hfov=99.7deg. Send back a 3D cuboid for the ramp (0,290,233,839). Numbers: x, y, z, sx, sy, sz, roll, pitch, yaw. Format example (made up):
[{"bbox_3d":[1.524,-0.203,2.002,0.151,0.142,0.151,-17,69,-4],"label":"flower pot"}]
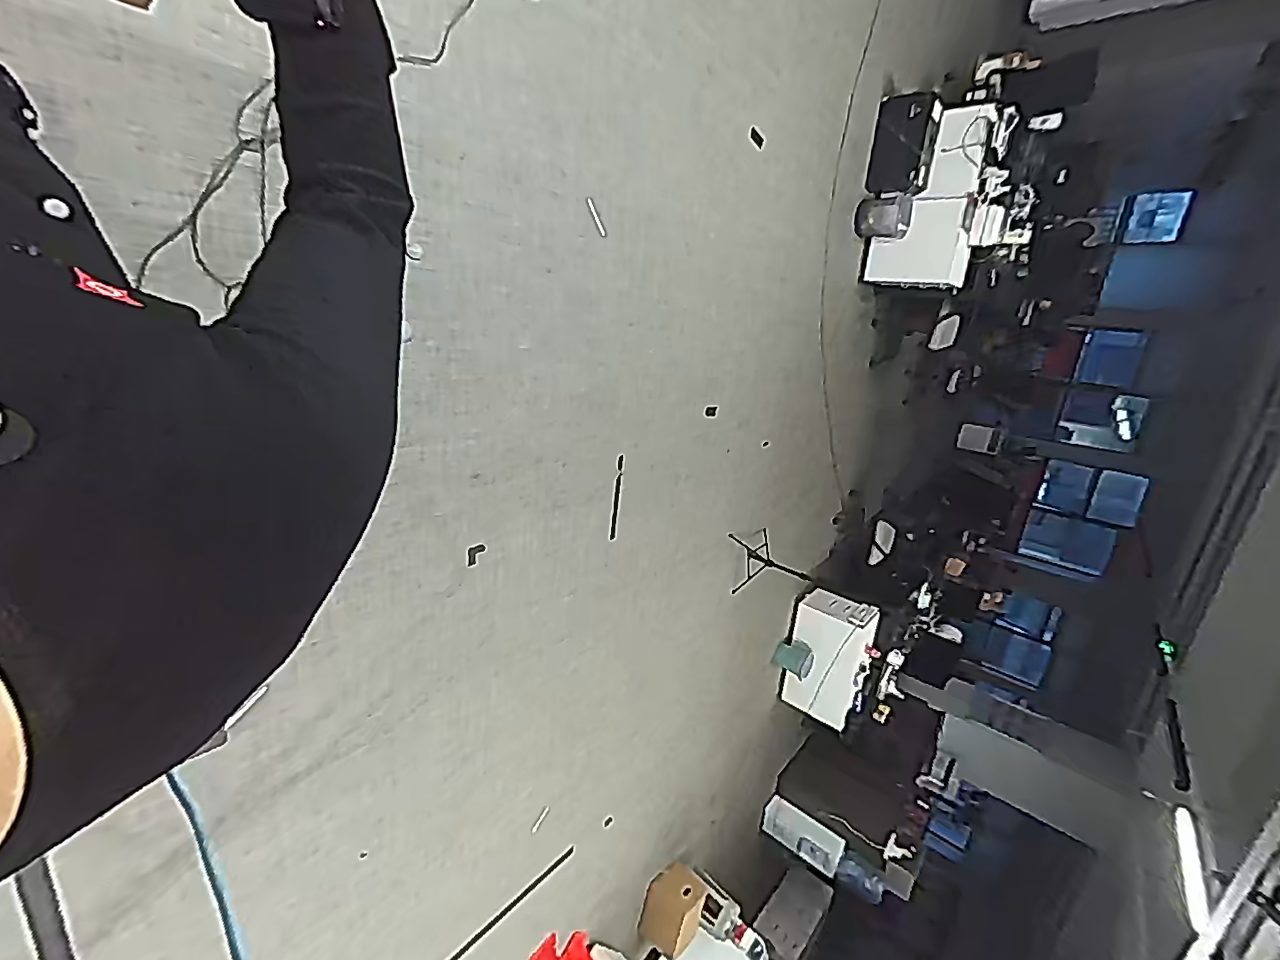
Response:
[{"bbox_3d":[-1.150,0.162,1.006,0.509,0.206,0.991,-16,117,-46],"label":"ramp"}]
